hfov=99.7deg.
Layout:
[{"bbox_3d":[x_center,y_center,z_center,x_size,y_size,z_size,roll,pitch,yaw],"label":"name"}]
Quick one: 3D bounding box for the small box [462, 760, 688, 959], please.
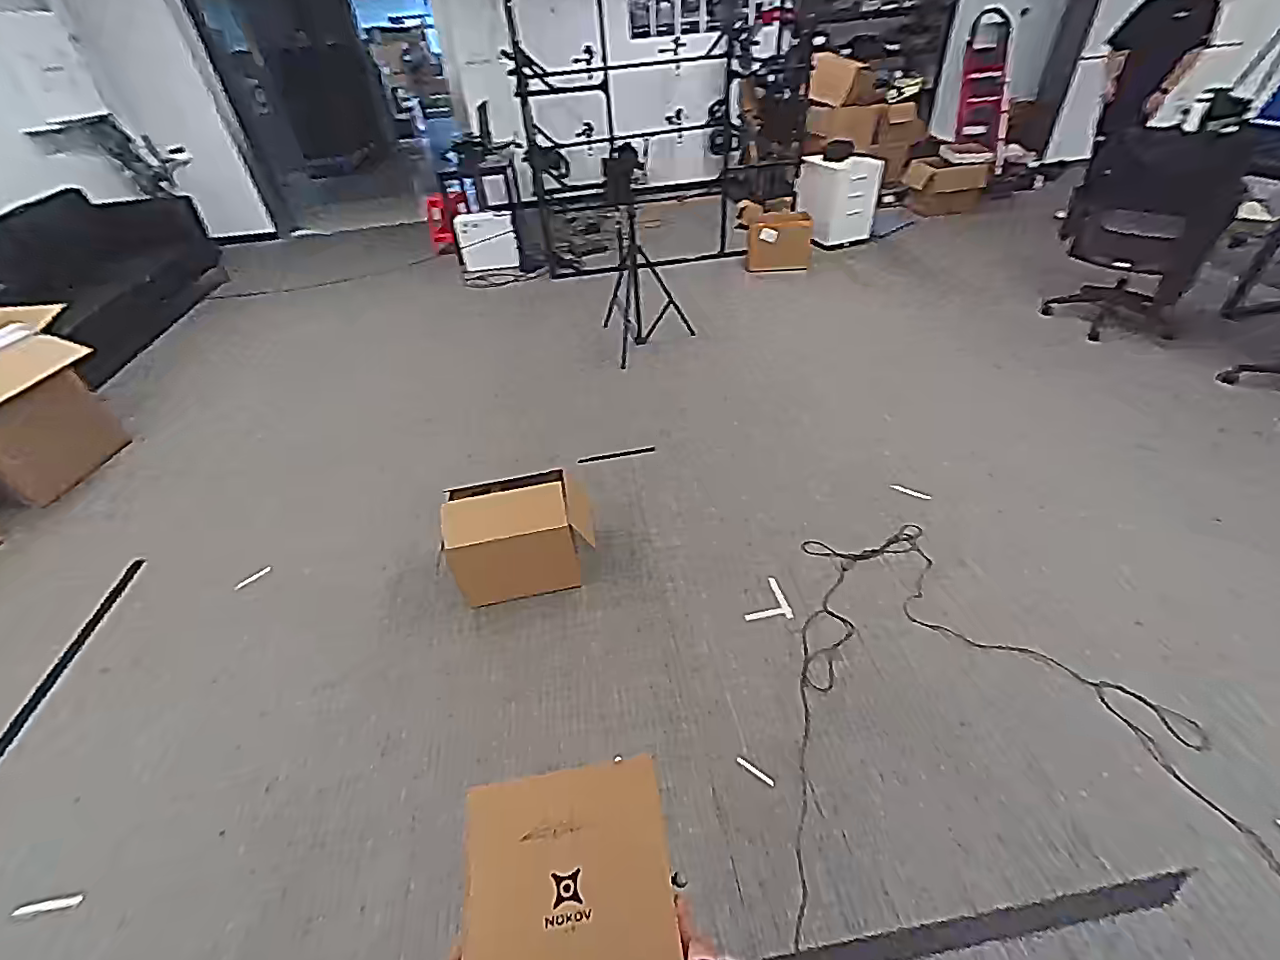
[{"bbox_3d":[-0.049,0.370,0.478,0.168,0.176,0.179,-9,52,-4],"label":"small box"}]
